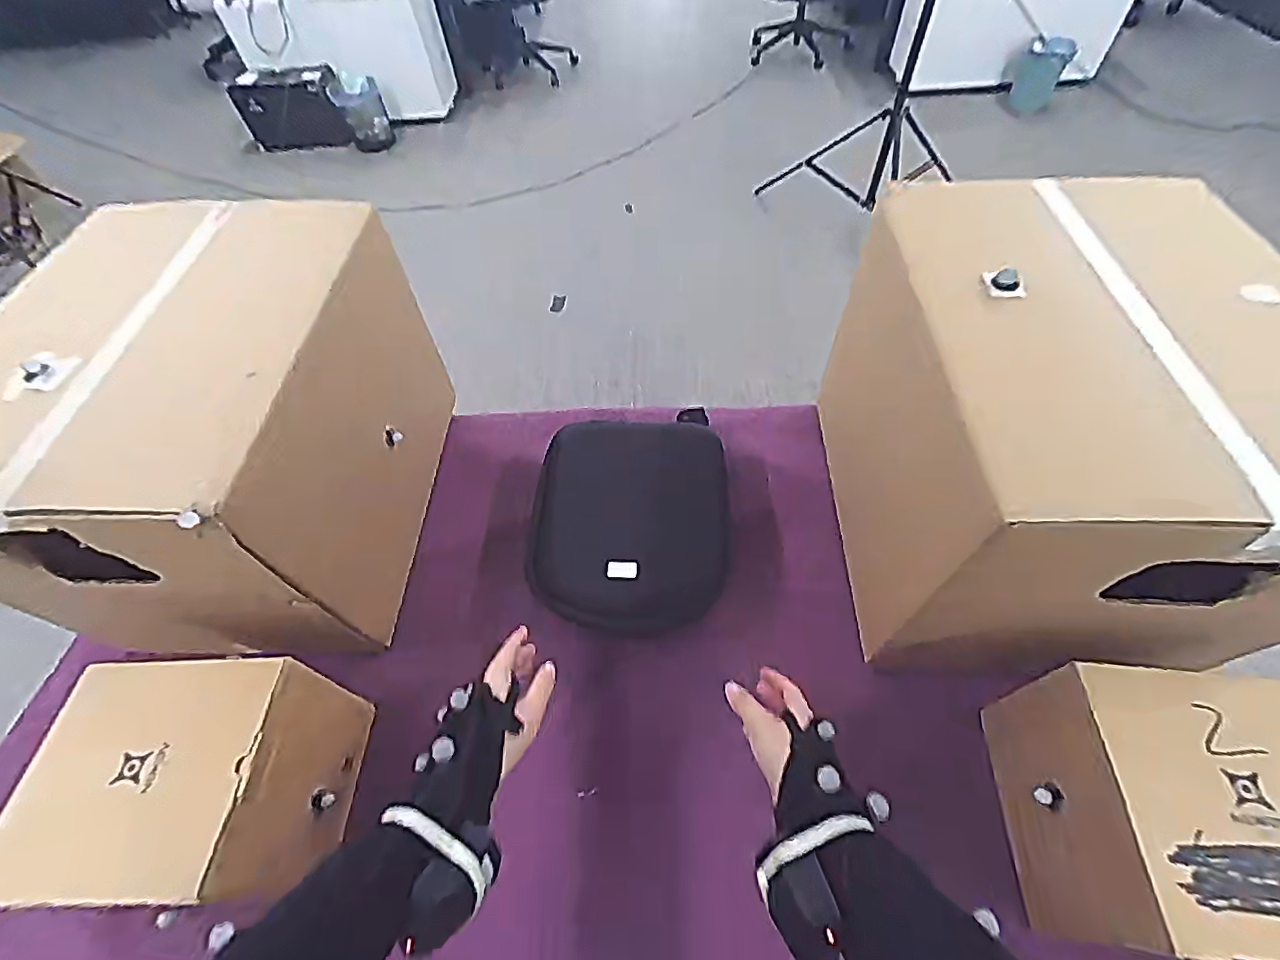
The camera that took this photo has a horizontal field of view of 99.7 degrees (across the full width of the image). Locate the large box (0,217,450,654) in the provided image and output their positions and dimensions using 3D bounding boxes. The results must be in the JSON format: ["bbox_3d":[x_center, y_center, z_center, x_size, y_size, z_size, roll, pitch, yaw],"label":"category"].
[{"bbox_3d":[-0.441,-0.044,0.620,0.320,0.320,0.408,-2,57,1],"label":"large box"}]

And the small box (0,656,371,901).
[{"bbox_3d":[-0.378,0.269,0.480,0.179,0.176,0.168,-3,53,1],"label":"small box"}]
